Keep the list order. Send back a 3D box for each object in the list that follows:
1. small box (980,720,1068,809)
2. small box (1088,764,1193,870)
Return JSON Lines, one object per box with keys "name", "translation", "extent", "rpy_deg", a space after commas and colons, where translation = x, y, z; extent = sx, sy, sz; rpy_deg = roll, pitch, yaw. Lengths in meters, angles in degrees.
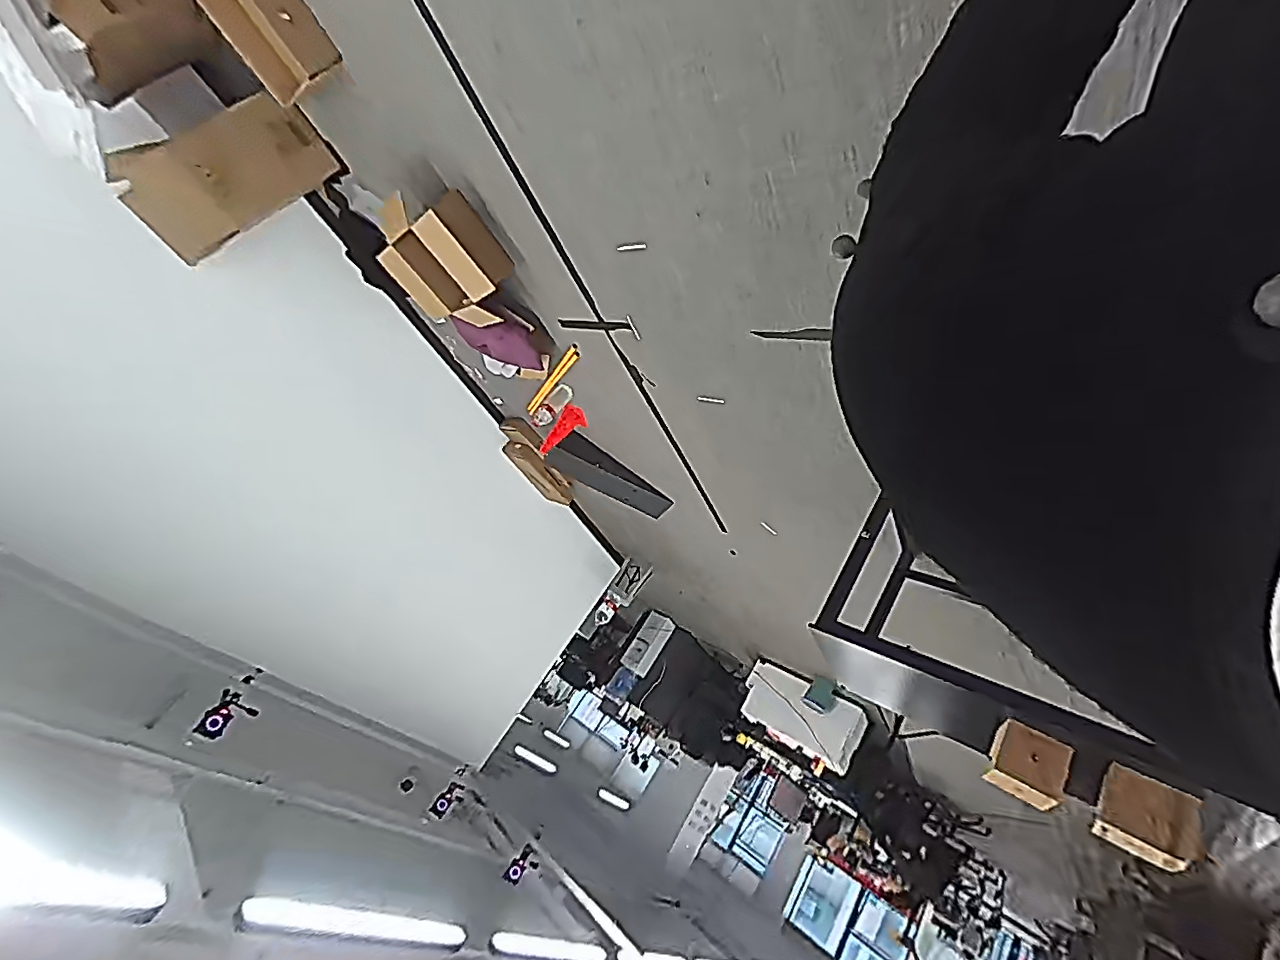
{"name": "small box", "translation": [1.165, 0.860, 1.643], "extent": [0.168, 0.176, 0.179], "rpy_deg": [23, 155, 33]}
{"name": "small box", "translation": [1.347, 0.903, 1.458], "extent": [0.179, 0.176, 0.168], "rpy_deg": [16, 151, 41]}
